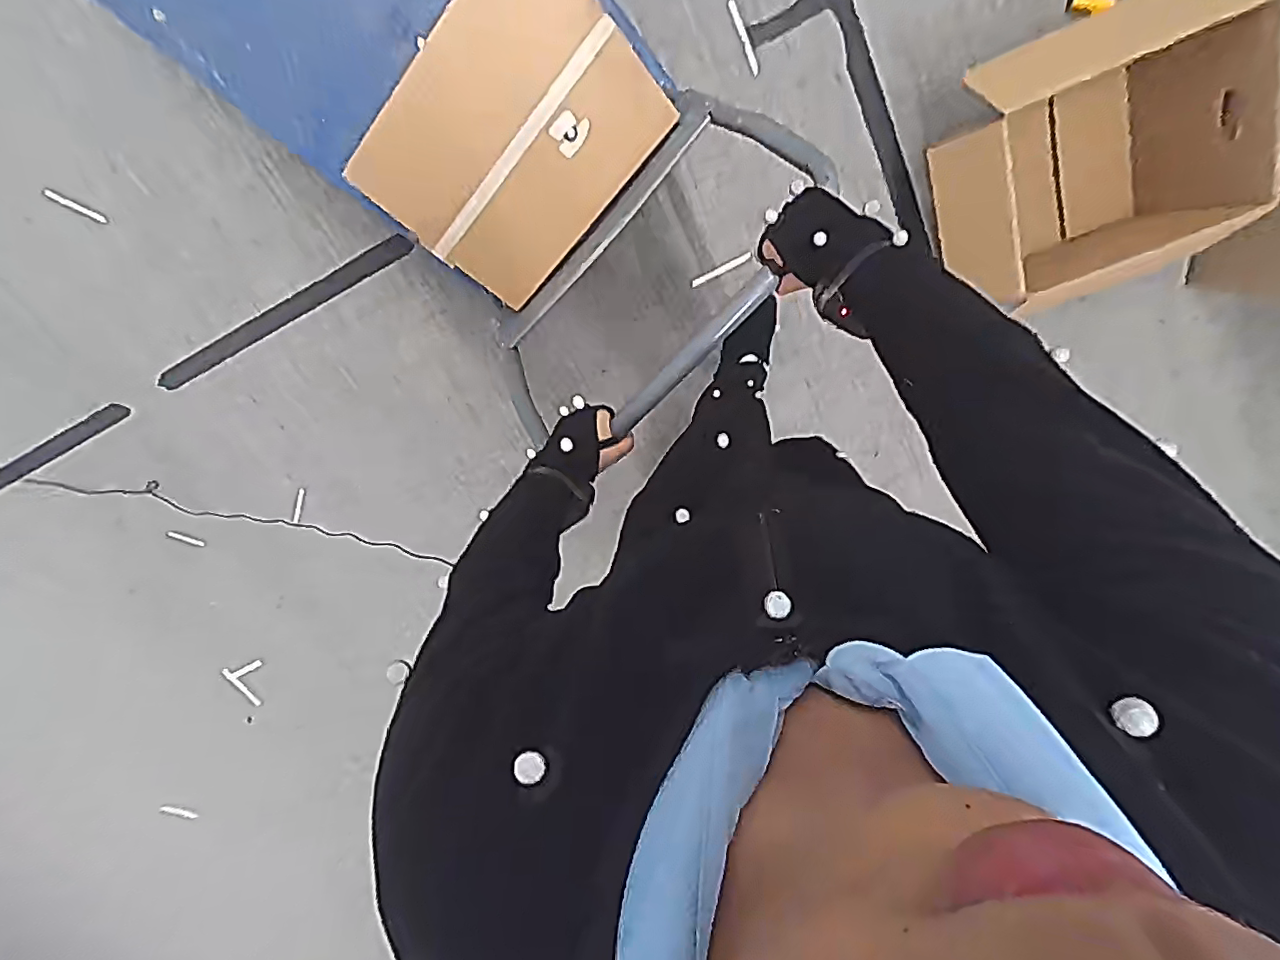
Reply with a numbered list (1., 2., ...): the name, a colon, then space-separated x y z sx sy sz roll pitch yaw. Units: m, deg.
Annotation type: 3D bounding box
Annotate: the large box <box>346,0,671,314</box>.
1. large box: -0.223 -0.573 0.911 0.320 0.320 0.408 32 111 -35
